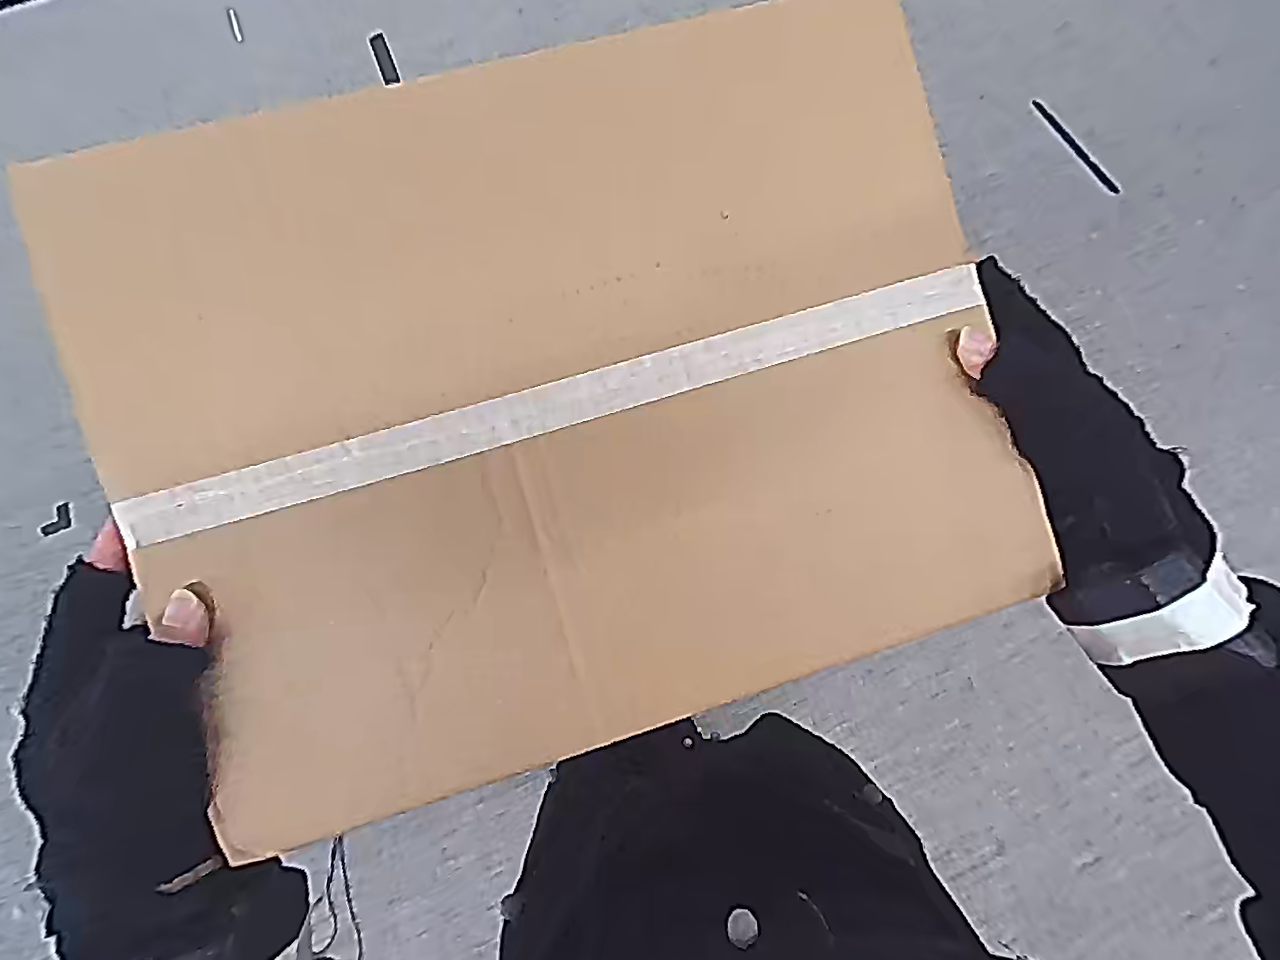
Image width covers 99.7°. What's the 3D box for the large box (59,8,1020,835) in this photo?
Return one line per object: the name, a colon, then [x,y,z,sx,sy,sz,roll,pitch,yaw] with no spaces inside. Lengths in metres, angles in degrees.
large box: [-0.041,-0.039,0.410,0.408,0.320,0.320,-16,91,-5]
